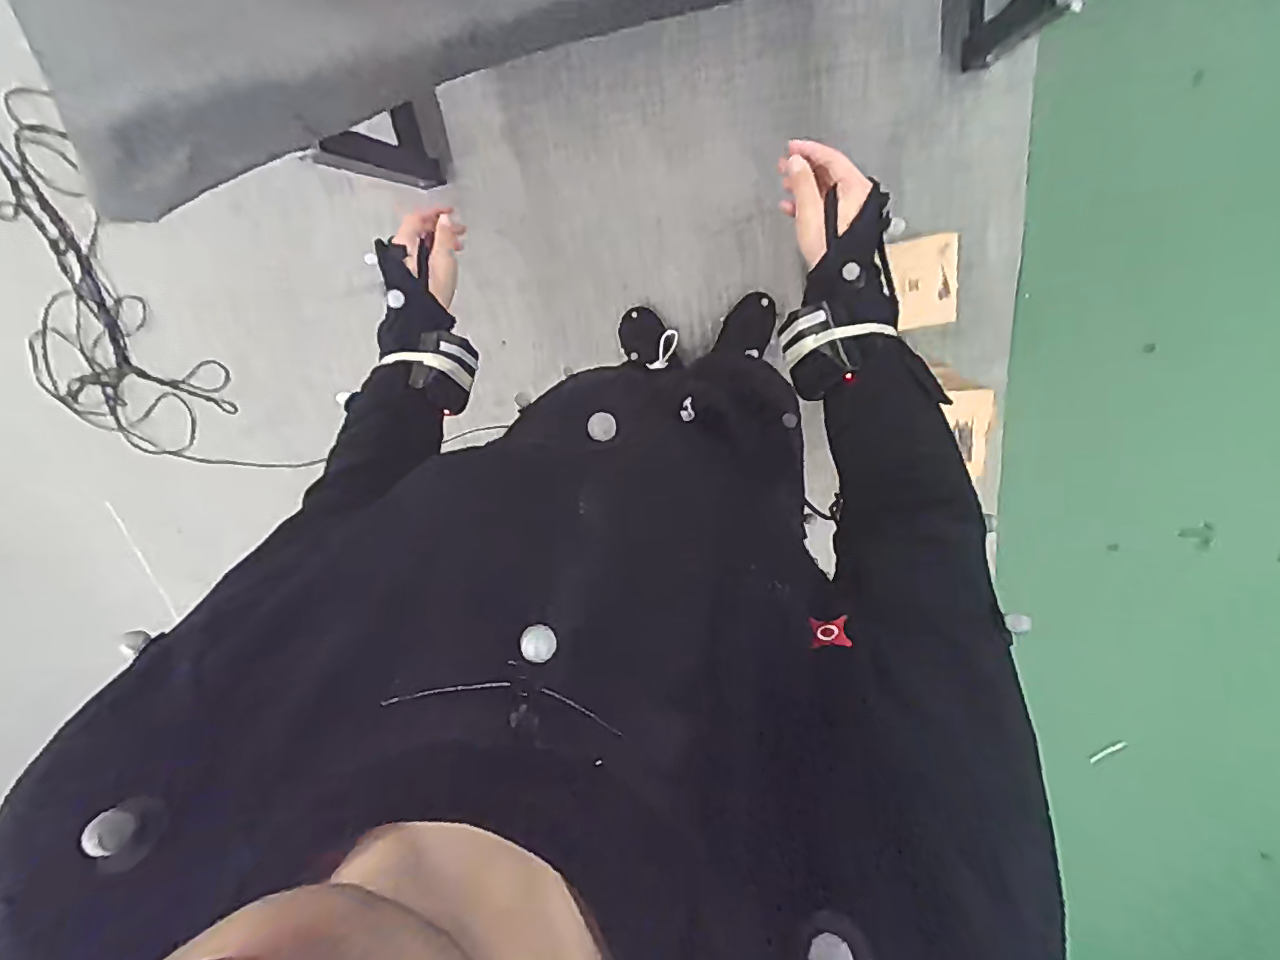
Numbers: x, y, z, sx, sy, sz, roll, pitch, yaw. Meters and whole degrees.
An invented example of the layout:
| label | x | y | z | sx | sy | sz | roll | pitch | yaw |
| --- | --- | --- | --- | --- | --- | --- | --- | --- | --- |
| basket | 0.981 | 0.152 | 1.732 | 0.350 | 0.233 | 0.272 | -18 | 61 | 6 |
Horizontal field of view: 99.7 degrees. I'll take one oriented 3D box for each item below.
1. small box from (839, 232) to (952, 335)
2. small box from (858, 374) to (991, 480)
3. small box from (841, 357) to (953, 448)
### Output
| label | x | y | z | sx | sy | sz | roll | pitch | yaw |
| --- | --- | --- | --- | --- | --- | --- | --- | --- | --- |
| small box | 0.516 | -0.400 | 1.113 | 0.179 | 0.176 | 0.168 | -8 | 109 | 10 |
| small box | 0.540 | -0.107 | 1.049 | 0.179 | 0.176 | 0.168 | -2 | 110 | 9 |
| small box | 0.559 | -0.174 | 1.198 | 0.179 | 0.176 | 0.168 | -2 | 111 | 9 |
